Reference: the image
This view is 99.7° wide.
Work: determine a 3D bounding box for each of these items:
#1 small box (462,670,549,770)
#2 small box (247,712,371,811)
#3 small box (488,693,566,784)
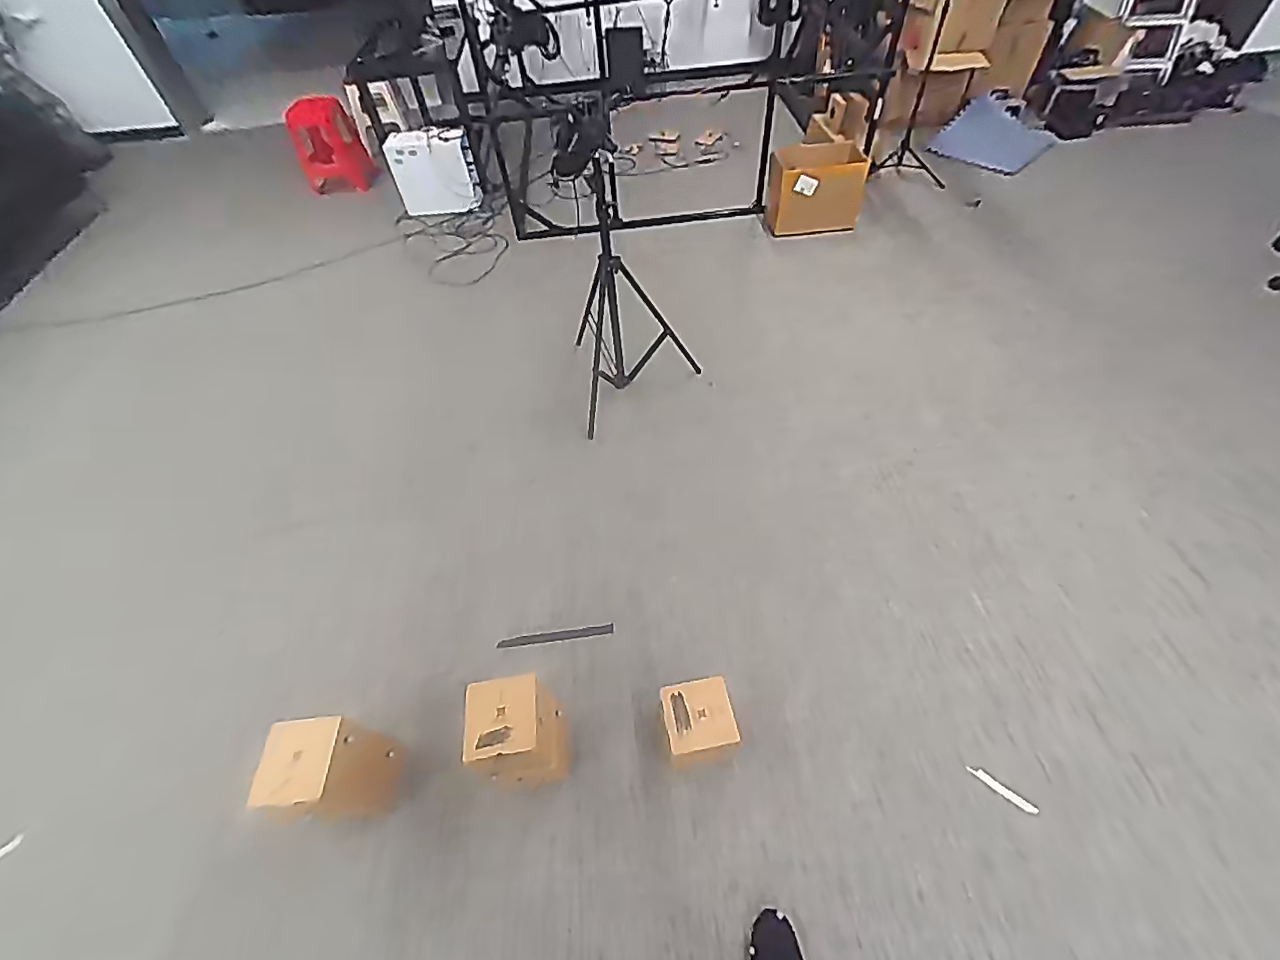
[{"bbox_3d":[-0.315,0.581,1.296,0.168,0.176,0.179,-9,51,-2],"label":"small box"},{"bbox_3d":[-0.761,0.662,1.269,0.168,0.176,0.179,-6,53,2],"label":"small box"},{"bbox_3d":[-0.292,0.686,1.422,0.168,0.176,0.179,-9,51,-2],"label":"small box"}]
